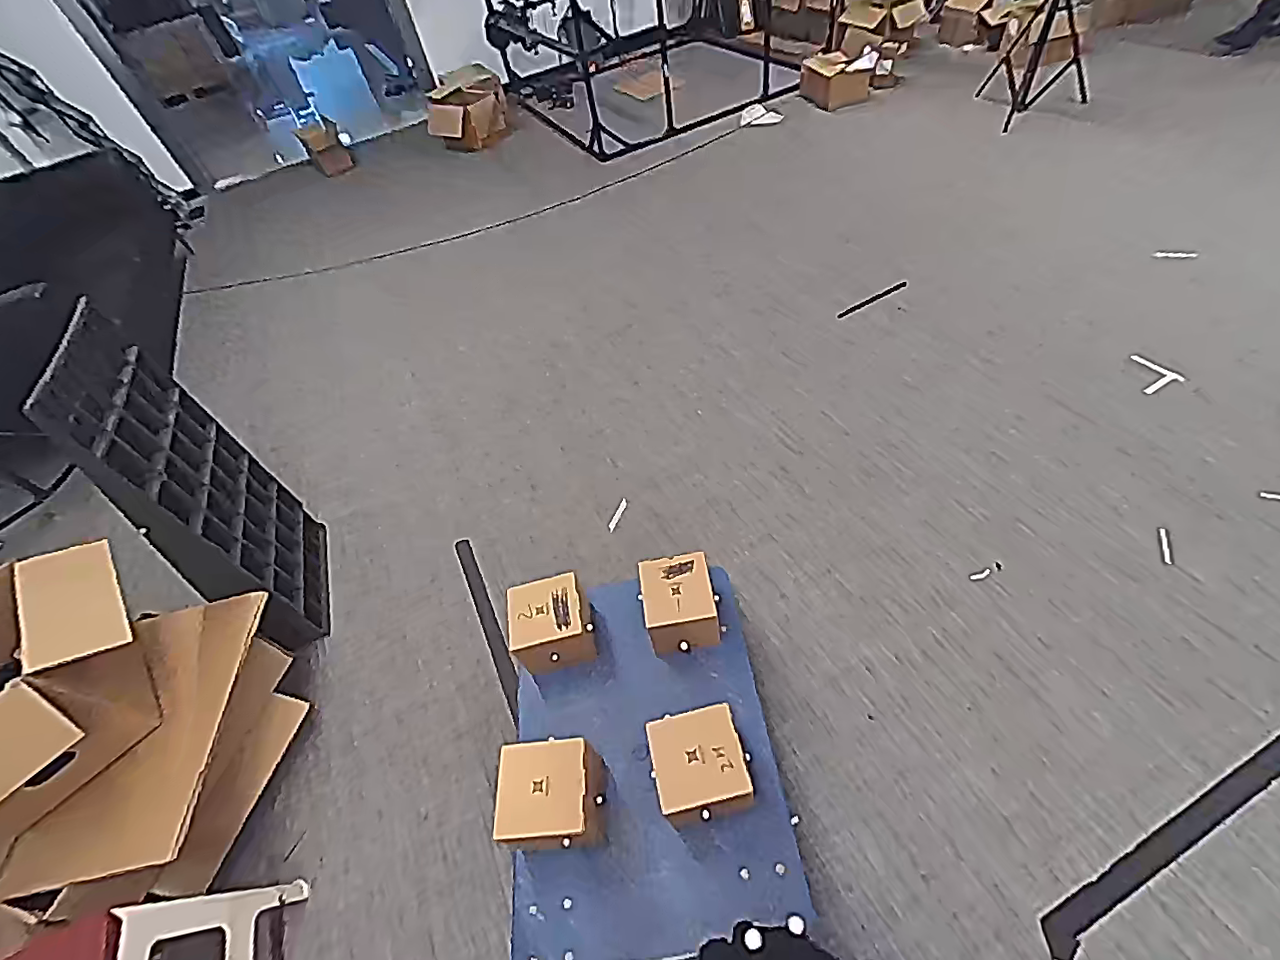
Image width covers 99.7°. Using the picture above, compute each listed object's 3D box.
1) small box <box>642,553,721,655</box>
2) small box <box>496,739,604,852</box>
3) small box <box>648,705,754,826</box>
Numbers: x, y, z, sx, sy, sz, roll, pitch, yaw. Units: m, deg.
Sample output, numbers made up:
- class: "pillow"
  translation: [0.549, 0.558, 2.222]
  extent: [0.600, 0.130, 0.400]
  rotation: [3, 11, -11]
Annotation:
- class: "small box"
  translation: [0.102, 0.307, 1.329]
  extent: [0.168, 0.176, 0.179]
  rotation: [-11, 51, 3]
- class: "small box"
  translation: [-0.175, 0.649, 1.107]
  extent: [0.179, 0.176, 0.168]
  rotation: [-8, 50, 4]
- class: "small box"
  translation: [0.126, 0.583, 1.097]
  extent: [0.179, 0.176, 0.168]
  rotation: [-14, 50, 0]
